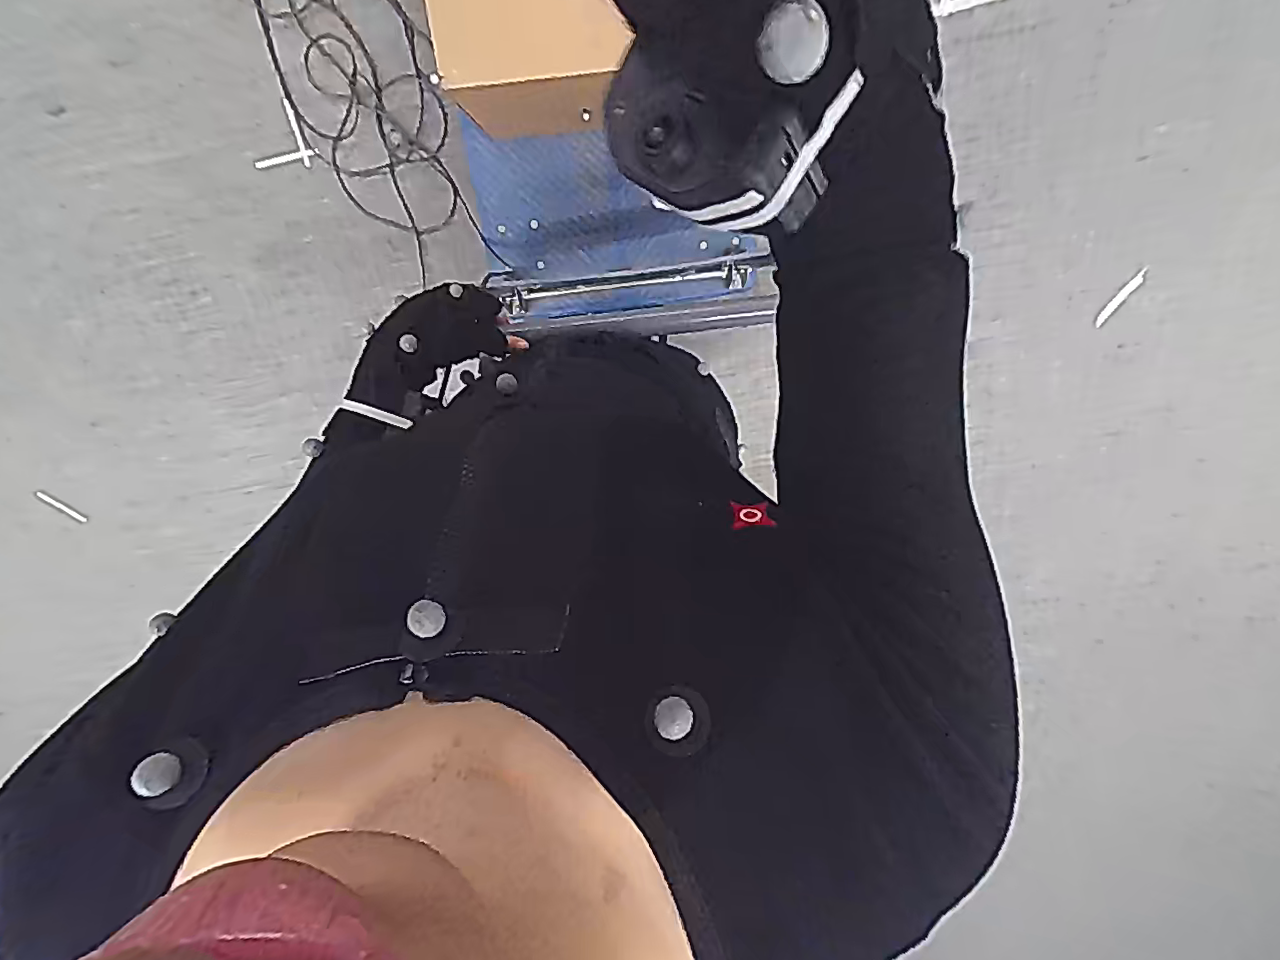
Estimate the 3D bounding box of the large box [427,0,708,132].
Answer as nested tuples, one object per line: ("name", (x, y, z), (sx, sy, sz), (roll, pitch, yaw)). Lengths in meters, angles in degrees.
("large box", (-0.111, -0.804, 0.890), (0.408, 0.320, 0.320), (-5, 110, 2))
